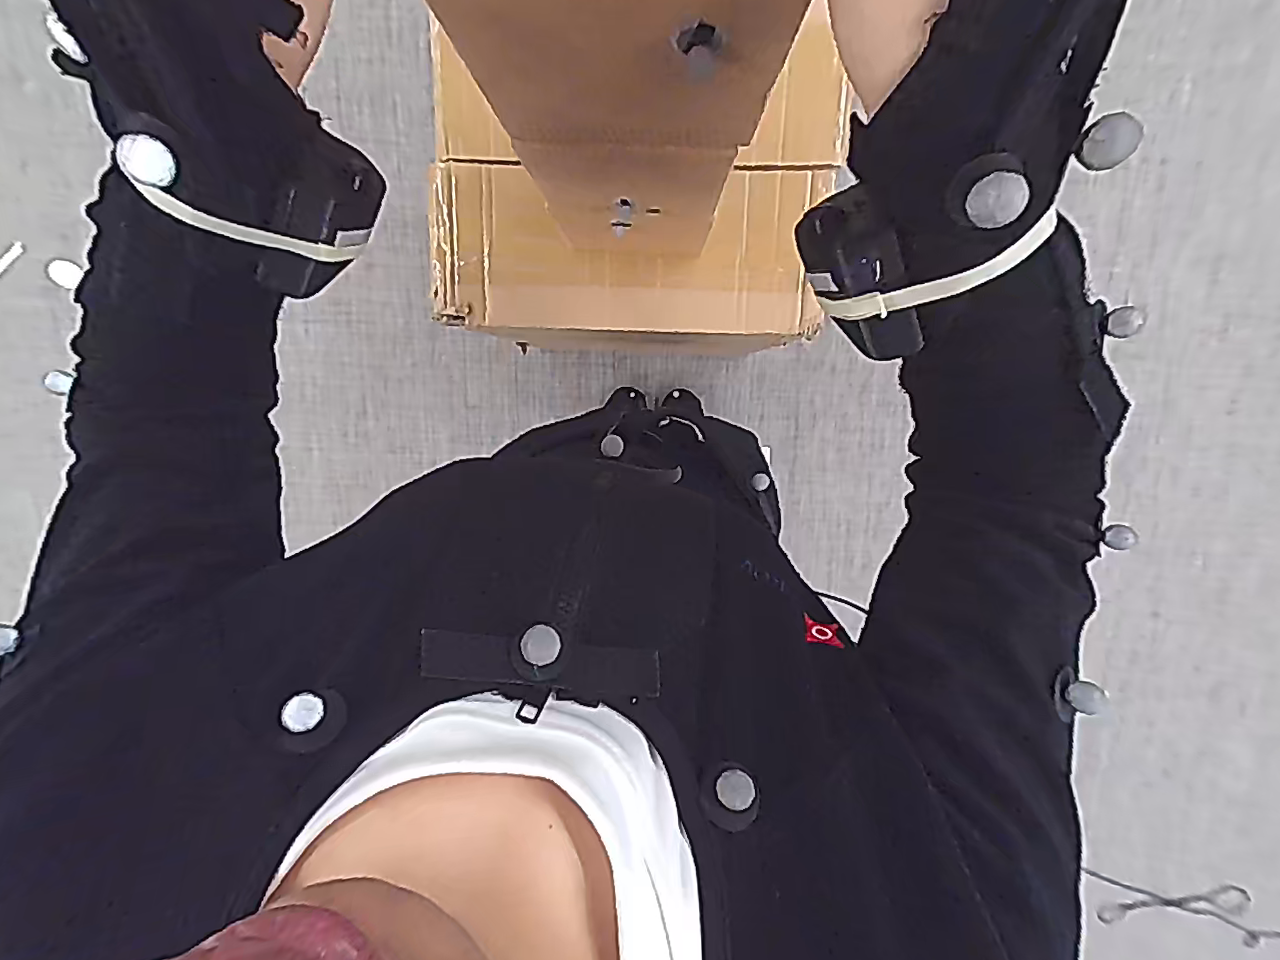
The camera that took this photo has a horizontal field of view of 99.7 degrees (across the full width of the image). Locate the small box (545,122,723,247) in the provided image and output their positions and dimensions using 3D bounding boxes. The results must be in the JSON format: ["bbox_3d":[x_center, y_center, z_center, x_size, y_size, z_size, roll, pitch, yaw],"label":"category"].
[{"bbox_3d":[-0.002,-0.370,0.608,0.179,0.176,0.168,4,101,1],"label":"small box"}]

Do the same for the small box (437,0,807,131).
[{"bbox_3d":[-0.005,-0.310,0.285,0.179,0.176,0.168,3,101,1],"label":"small box"}]
